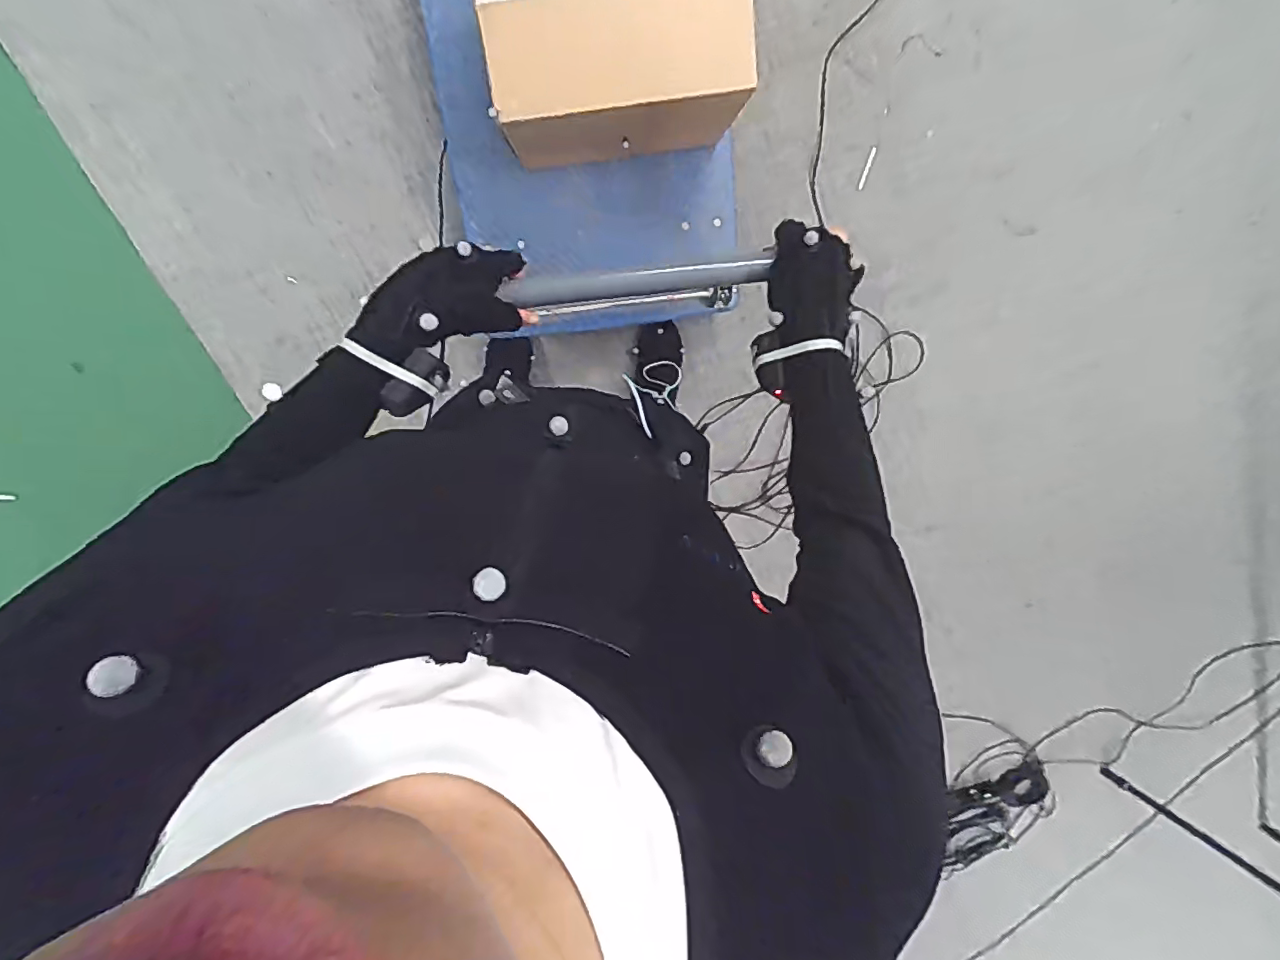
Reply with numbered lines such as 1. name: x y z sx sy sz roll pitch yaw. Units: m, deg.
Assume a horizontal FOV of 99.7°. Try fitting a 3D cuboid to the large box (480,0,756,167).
1. large box: -0.042 -0.769 0.930 0.408 0.320 0.320 -8 108 0
